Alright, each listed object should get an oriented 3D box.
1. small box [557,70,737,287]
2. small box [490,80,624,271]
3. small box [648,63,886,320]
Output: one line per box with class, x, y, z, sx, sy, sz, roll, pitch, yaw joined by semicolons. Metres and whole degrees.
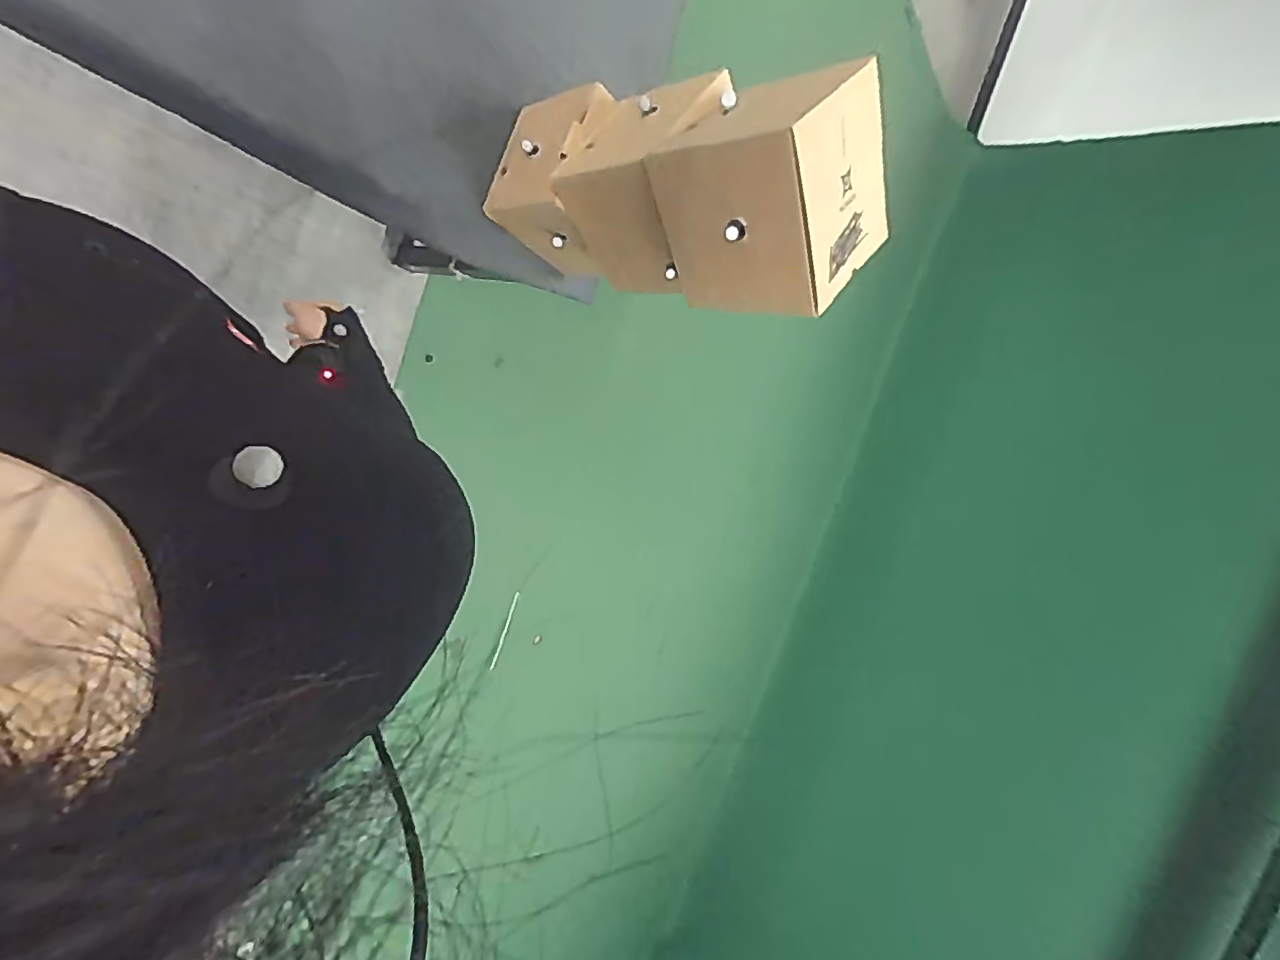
small box;0.029;-0.358;0.676;0.168;0.176;0.179;-55;138;-17
small box;-0.084;-0.416;0.779;0.179;0.176;0.168;23;88;-49
small box;0.138;-0.292;0.569;0.168;0.176;0.179;-48;134;-25
